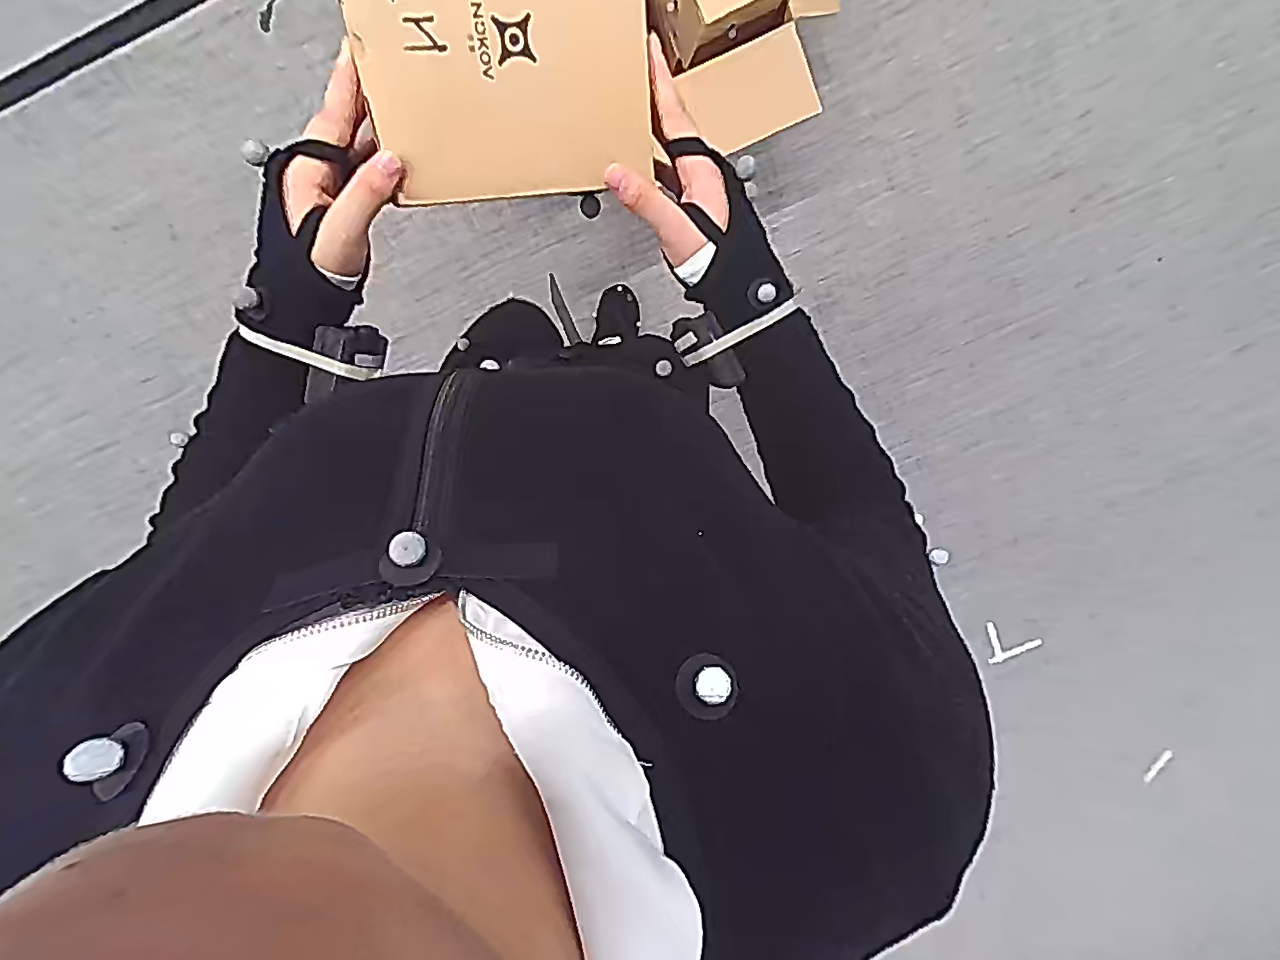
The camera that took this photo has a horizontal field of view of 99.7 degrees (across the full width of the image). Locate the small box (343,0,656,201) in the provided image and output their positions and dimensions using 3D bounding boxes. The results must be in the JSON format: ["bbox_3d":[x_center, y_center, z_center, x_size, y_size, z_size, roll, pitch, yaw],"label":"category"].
[{"bbox_3d":[-0.087,-0.301,0.388,0.179,0.176,0.168,-6,118,-1],"label":"small box"}]

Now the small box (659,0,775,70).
[{"bbox_3d":[0.139,-0.899,0.981,0.179,0.176,0.168,-26,105,1],"label":"small box"}]
